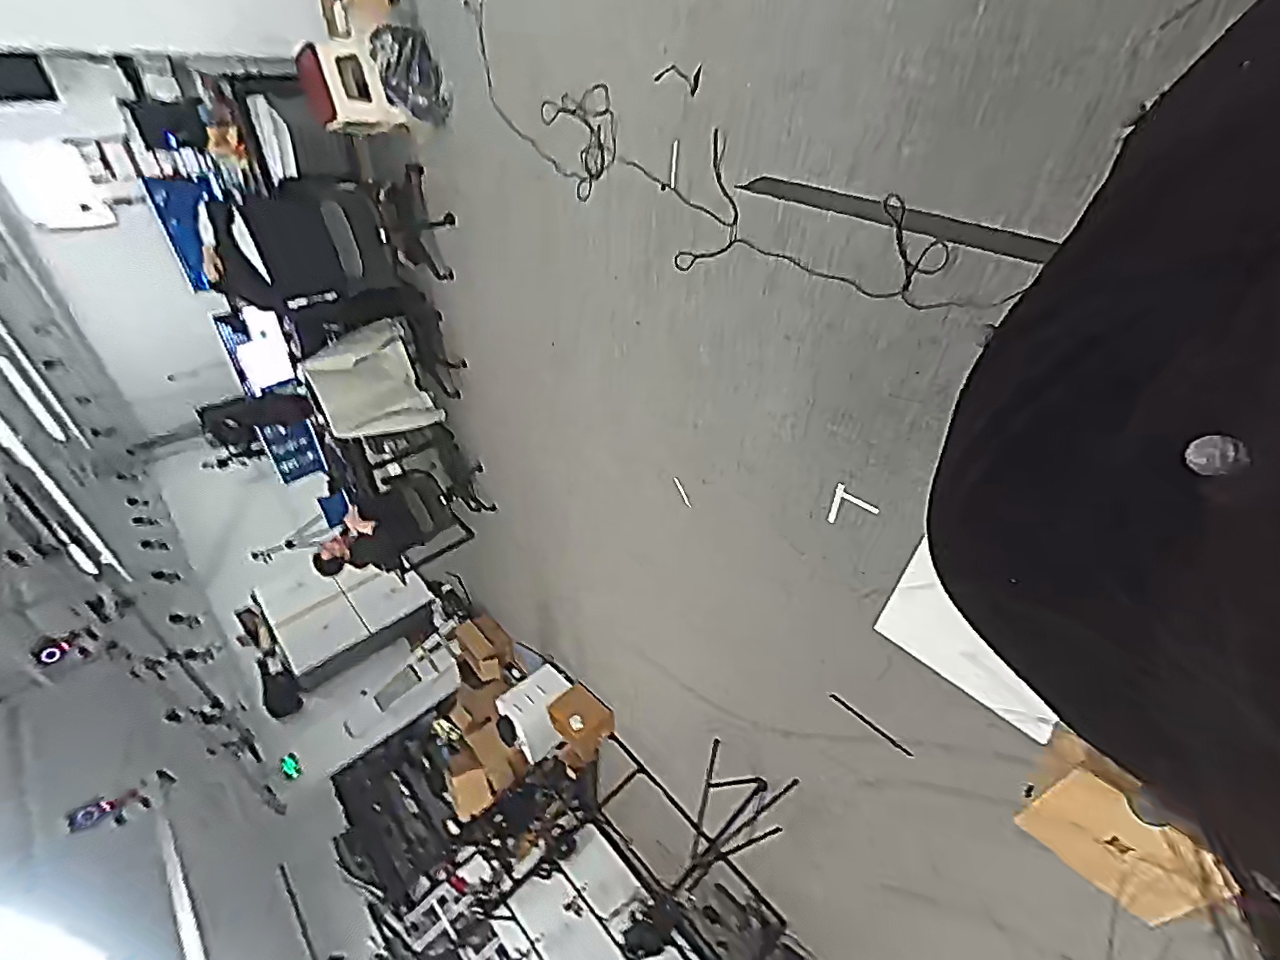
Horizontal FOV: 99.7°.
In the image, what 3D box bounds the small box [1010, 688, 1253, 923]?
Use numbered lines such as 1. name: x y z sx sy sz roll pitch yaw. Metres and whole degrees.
1. small box: 0.632 0.411 0.703 0.168 0.176 0.179 35 139 33
